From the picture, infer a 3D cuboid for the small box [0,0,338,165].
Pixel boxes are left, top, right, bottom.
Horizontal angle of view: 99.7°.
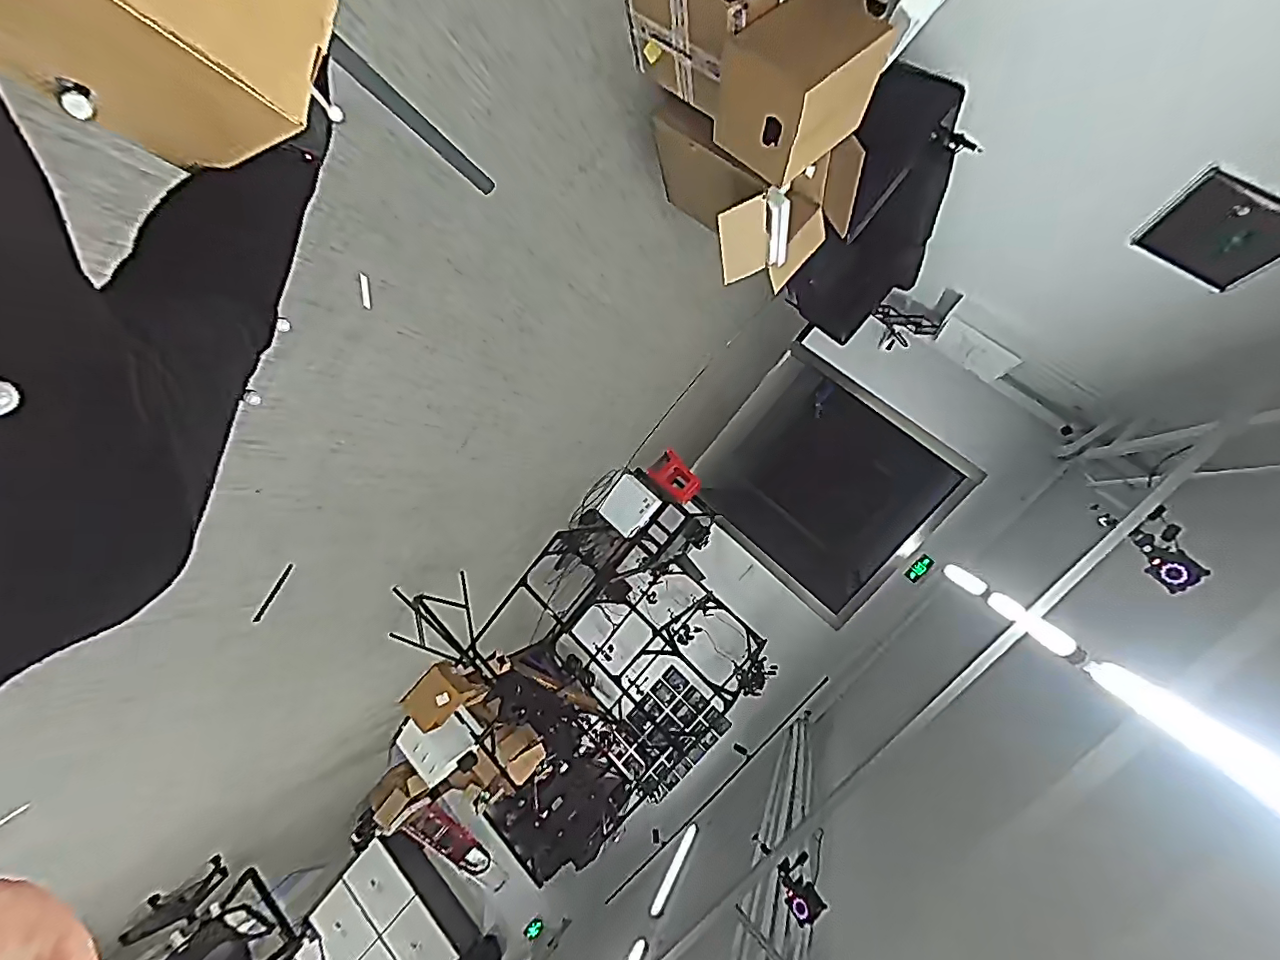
[{"bbox_3d":[-0.338,-0.346,0.364,0.179,0.176,0.168,16,81,-58],"label":"small box"}]
